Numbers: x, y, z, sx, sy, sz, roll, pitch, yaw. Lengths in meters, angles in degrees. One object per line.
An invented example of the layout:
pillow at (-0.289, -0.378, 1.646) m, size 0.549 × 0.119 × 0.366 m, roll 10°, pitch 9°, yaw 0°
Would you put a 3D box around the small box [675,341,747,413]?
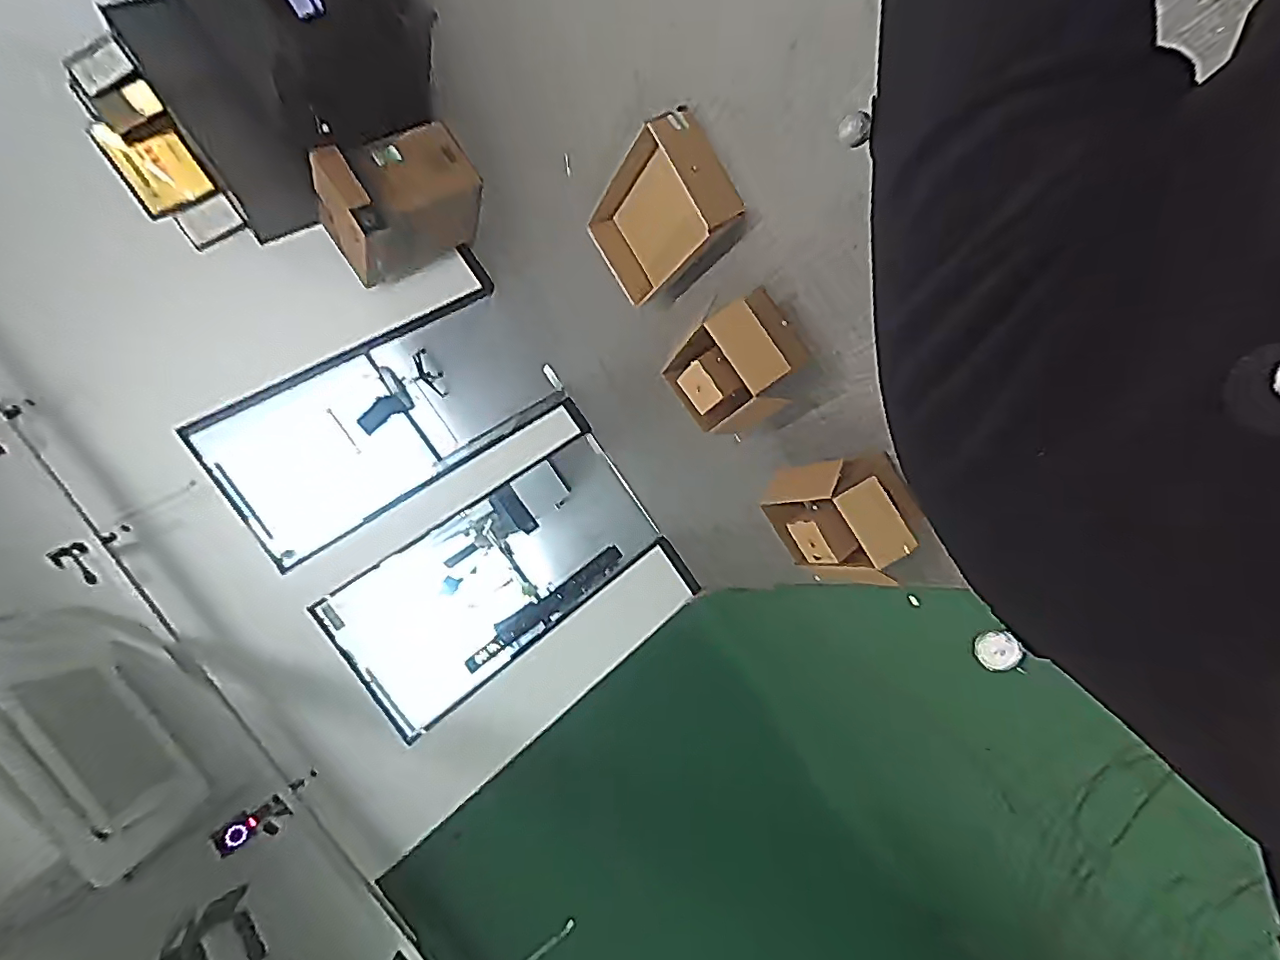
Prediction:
small box at (0.265, -0.379, 1.986) m, size 0.168 × 0.176 × 0.179 m, roll 55°, pitch 155°, yaw 1°
